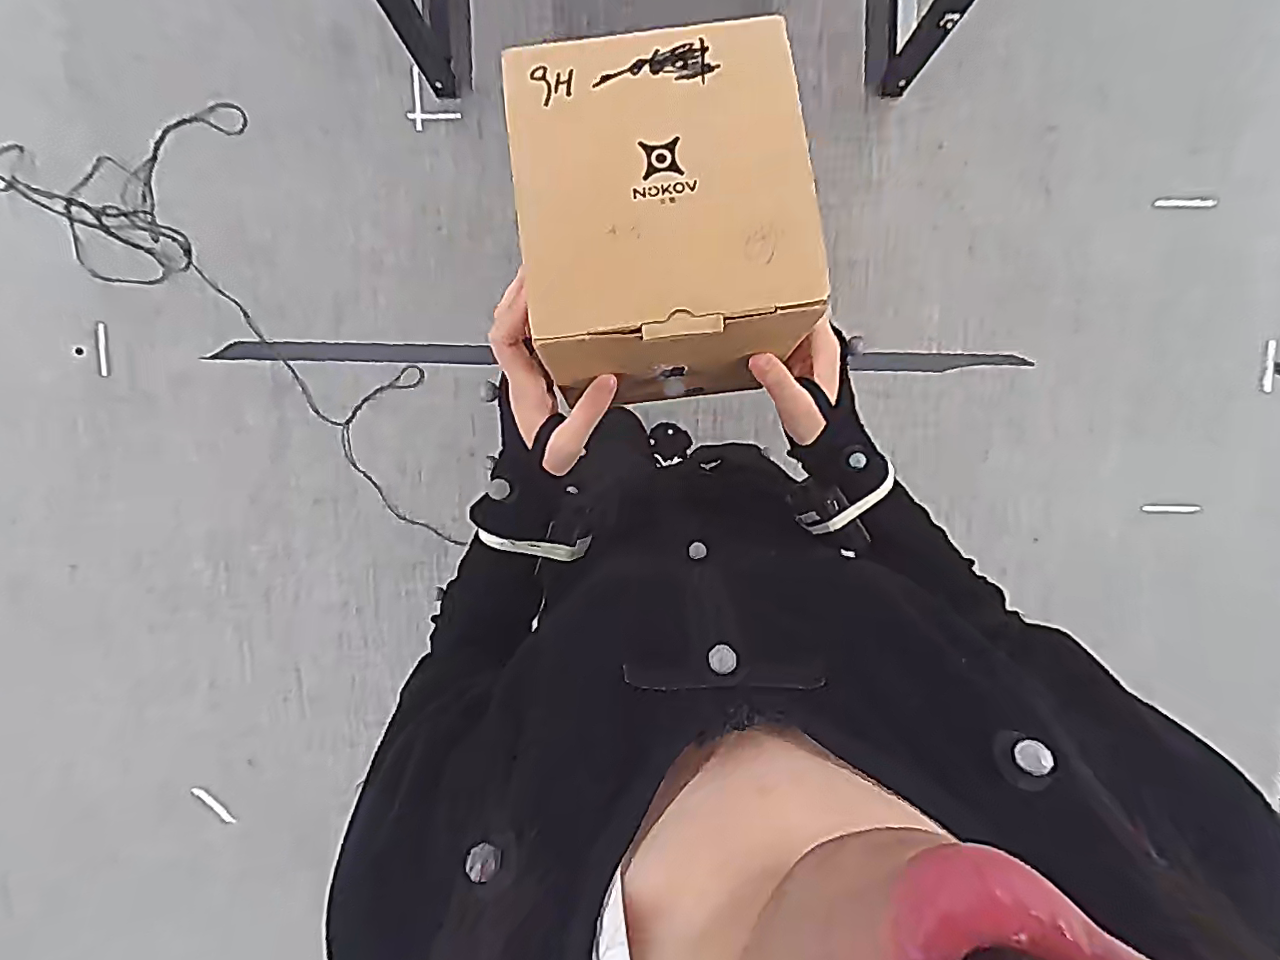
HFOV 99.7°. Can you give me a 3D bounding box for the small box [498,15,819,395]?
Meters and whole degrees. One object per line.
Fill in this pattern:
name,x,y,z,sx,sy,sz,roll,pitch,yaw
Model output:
small box,0.010,-0.165,0.383,0.168,0.176,0.179,-8,85,0
